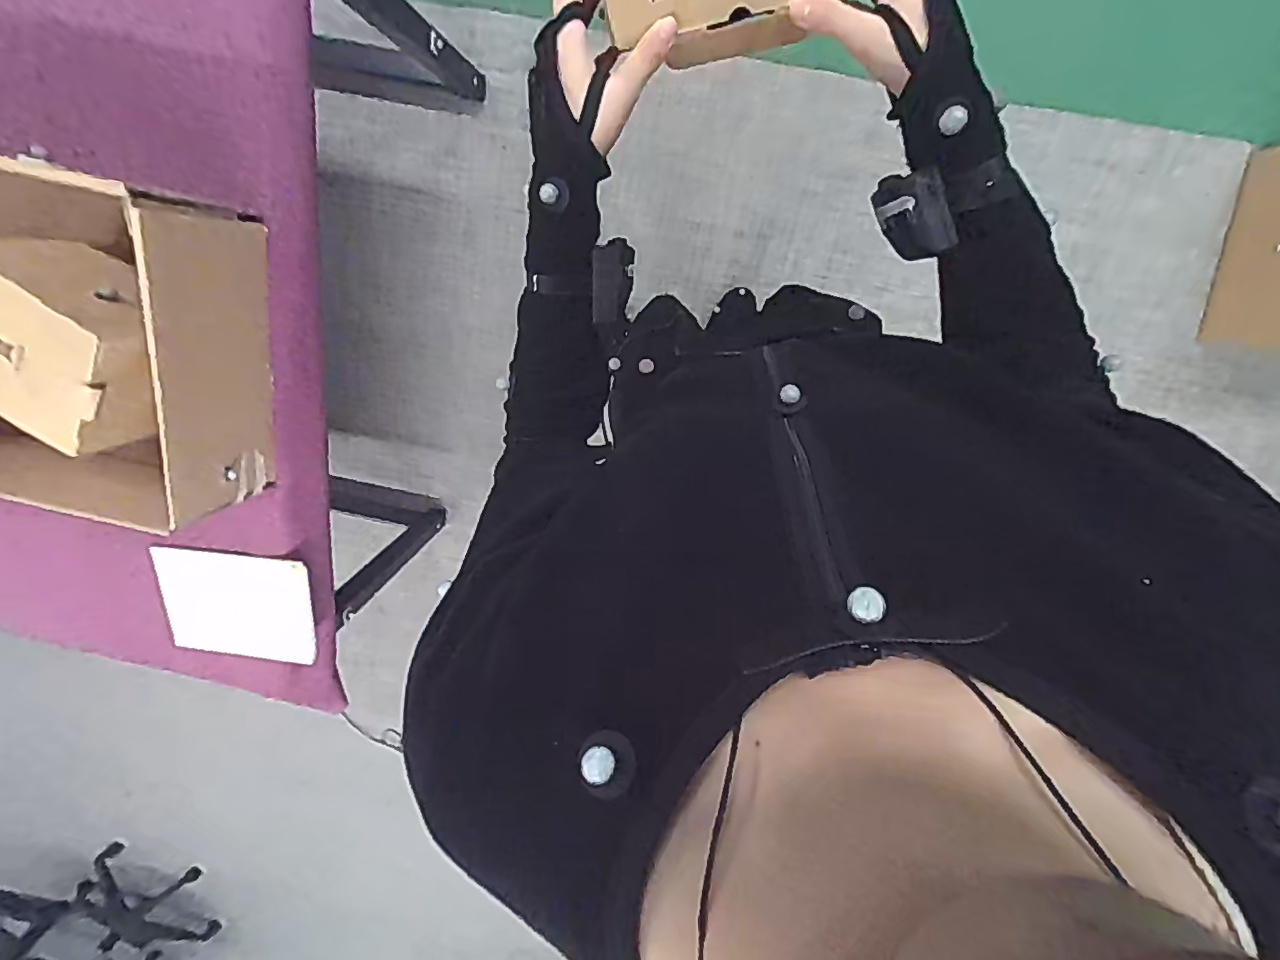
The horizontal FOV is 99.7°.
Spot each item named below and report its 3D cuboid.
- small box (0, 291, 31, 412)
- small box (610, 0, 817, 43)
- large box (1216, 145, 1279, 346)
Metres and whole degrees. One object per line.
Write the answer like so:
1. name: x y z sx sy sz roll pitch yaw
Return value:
1. small box: -0.948 -0.171 0.689 0.179 0.176 0.168 13 110 0
2. small box: 0.047 -0.412 0.341 0.168 0.176 0.179 -10 134 5
3. large box: 1.479 -0.480 1.066 0.320 0.320 0.408 -2 108 6
